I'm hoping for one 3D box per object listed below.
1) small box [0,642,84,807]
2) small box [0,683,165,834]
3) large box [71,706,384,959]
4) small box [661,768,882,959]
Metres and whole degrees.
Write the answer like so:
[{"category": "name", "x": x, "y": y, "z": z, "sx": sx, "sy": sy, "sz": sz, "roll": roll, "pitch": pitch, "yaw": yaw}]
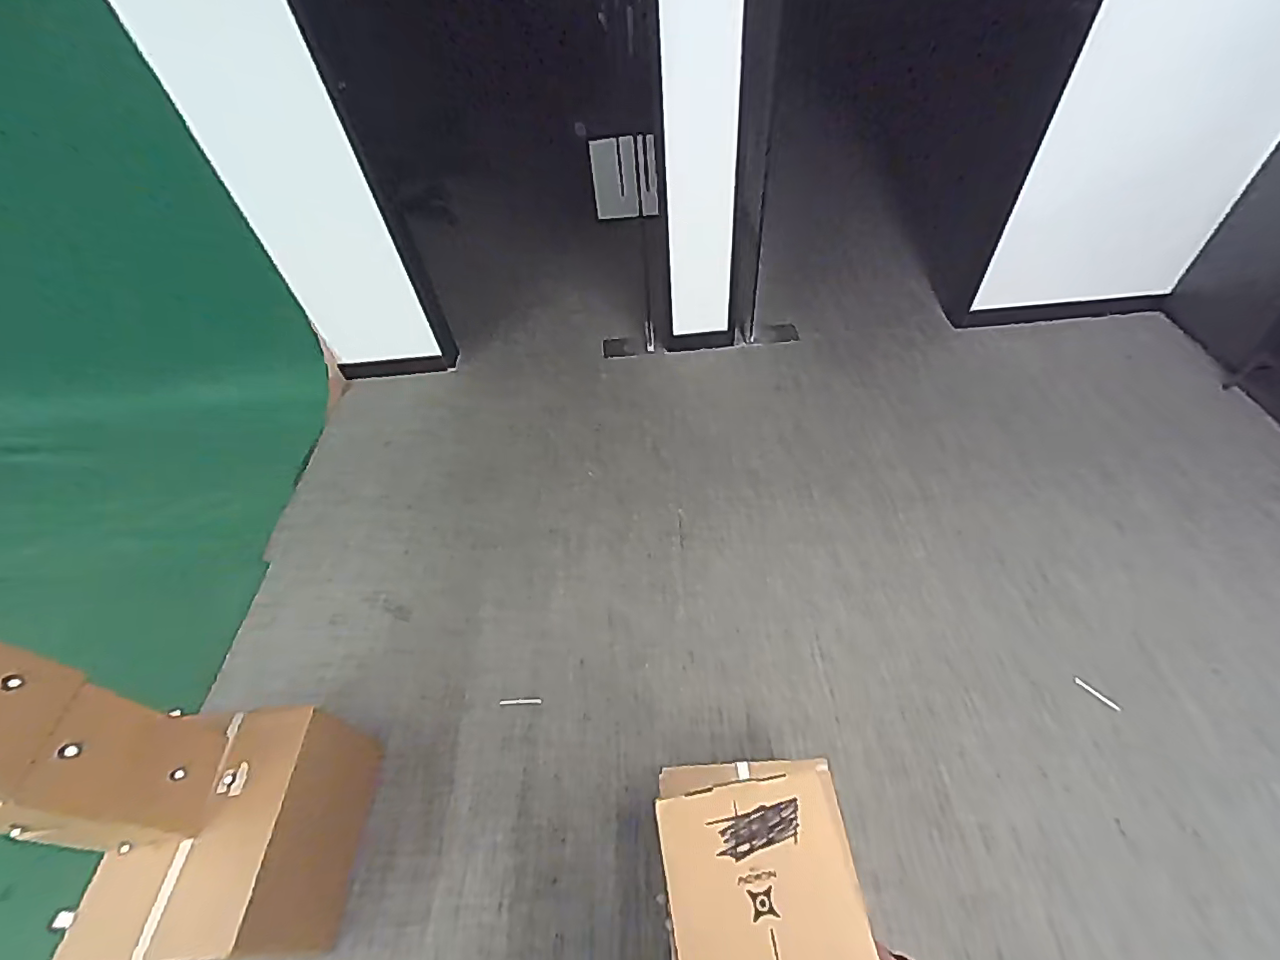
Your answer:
[{"category": "small box", "x": -0.942, "y": 0.336, "z": 0.741, "sx": 0.168, "sy": 0.176, "sz": 0.179, "roll": -7, "pitch": 51, "yaw": 6}, {"category": "small box", "x": -0.924, "y": 0.446, "z": 0.861, "sx": 0.168, "sy": 0.176, "sz": 0.179, "roll": -8, "pitch": 50, "yaw": 4}, {"category": "large box", "x": -0.796, "y": 0.742, "z": 1.130, "sx": 0.320, "sy": 0.320, "sz": 0.408, "roll": -6, "pitch": 49, "yaw": 3}, {"category": "small box", "x": 0.120, "y": 0.417, "z": 0.543, "sx": 0.168, "sy": 0.176, "sz": 0.179, "roll": -12, "pitch": 50, "yaw": -1}]
